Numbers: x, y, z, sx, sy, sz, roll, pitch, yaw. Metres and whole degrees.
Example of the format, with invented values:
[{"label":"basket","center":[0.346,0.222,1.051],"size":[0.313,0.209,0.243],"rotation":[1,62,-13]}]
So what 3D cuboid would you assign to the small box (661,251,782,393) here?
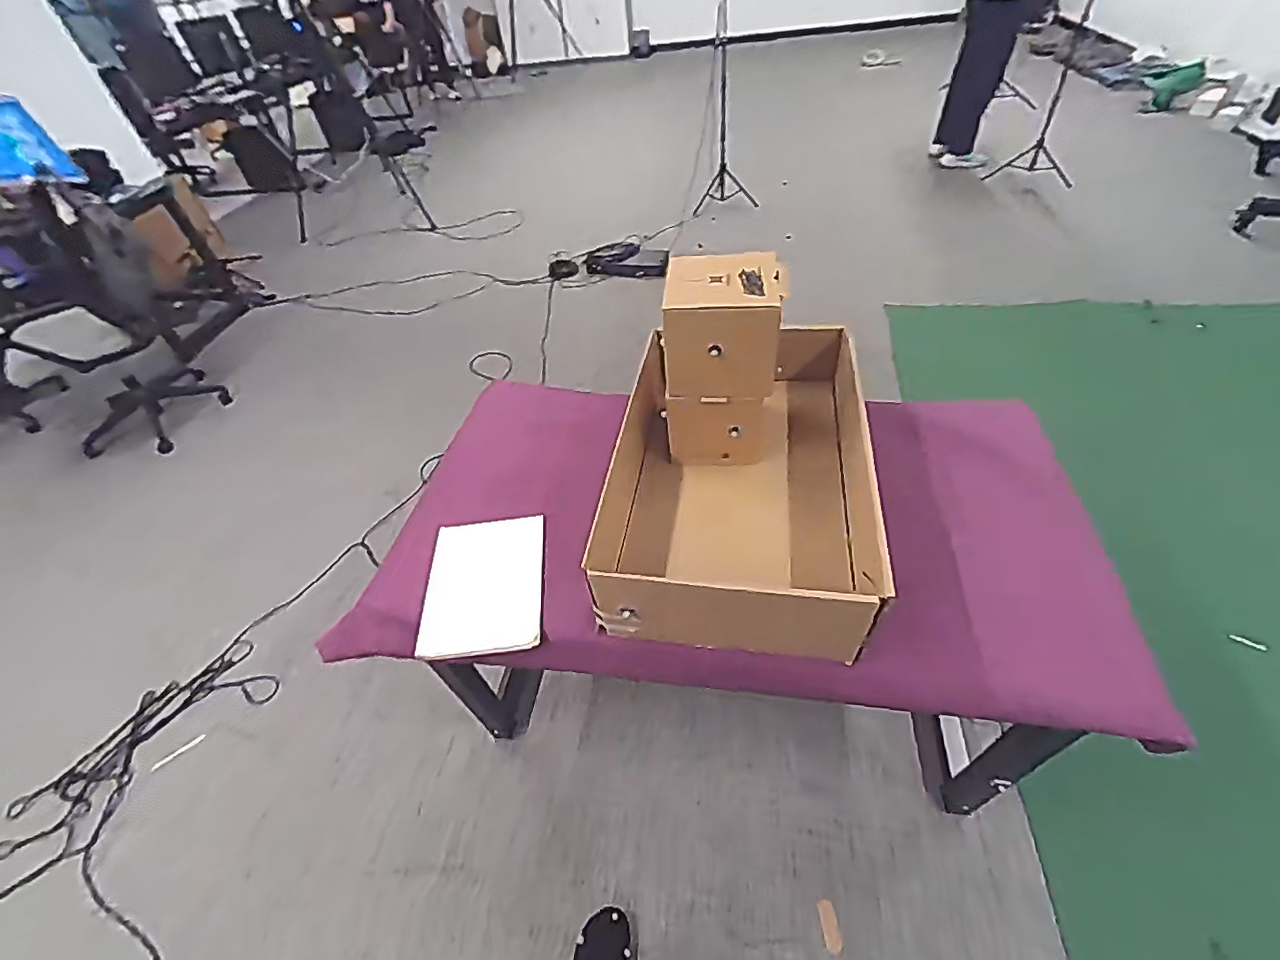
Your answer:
[{"label":"small box","center":[0.134,-0.256,0.891],"size":[0.179,0.176,0.168],"rotation":[1,48,9]}]
